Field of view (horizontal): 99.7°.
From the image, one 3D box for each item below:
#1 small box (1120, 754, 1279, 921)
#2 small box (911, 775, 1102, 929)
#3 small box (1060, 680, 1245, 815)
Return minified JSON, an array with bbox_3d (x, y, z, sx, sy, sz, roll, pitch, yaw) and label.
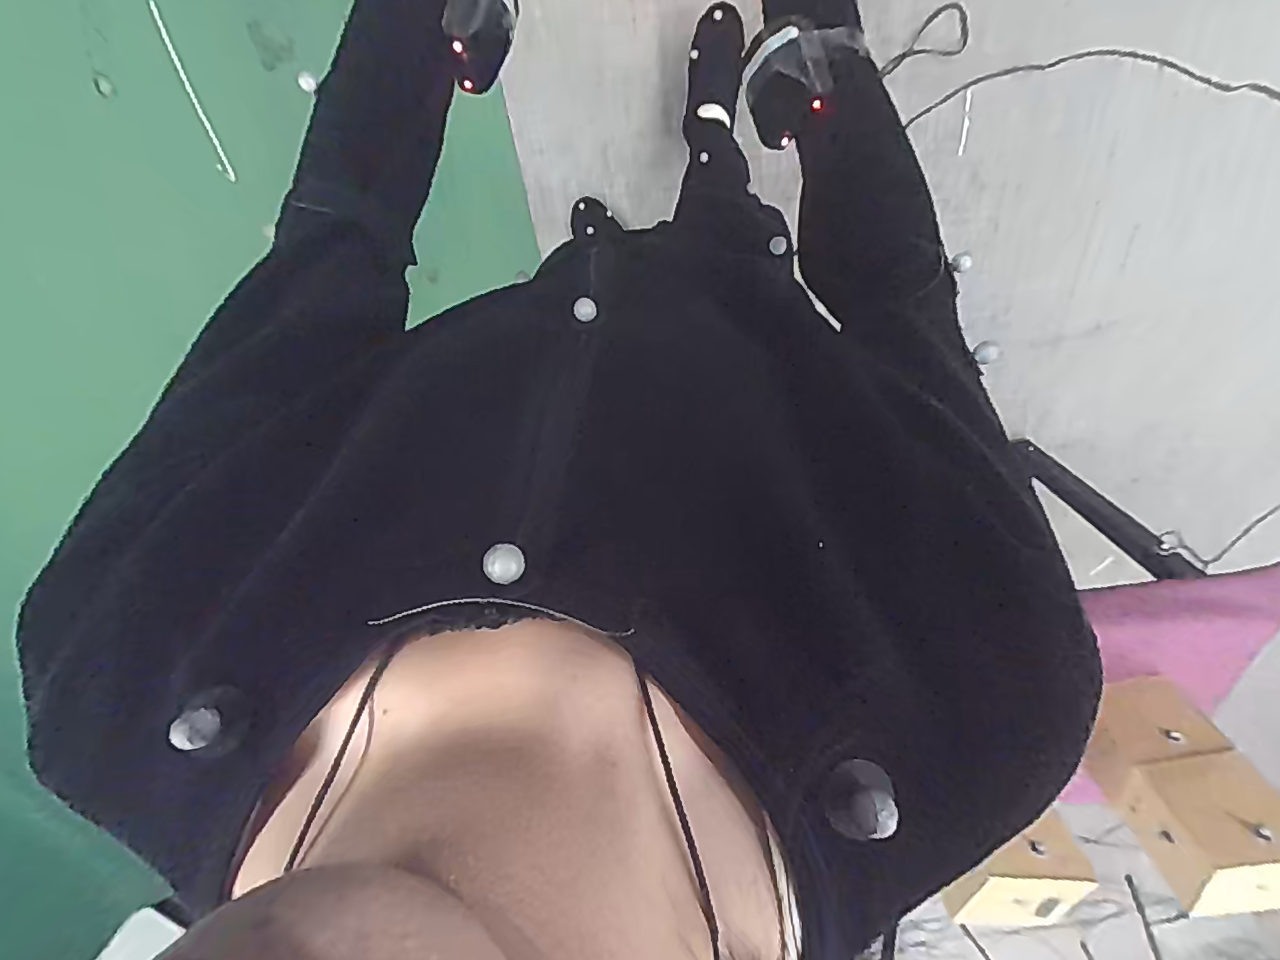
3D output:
[{"bbox_3d":[0.960,0.589,0.899,0.179,0.176,0.168,-13,120,7],"label":"small box"},{"bbox_3d":[0.601,0.624,0.915,0.179,0.176,0.168,4,122,-2],"label":"small box"},{"bbox_3d":[0.966,0.508,1.039,0.179,0.176,0.168,-11,120,7],"label":"small box"}]
